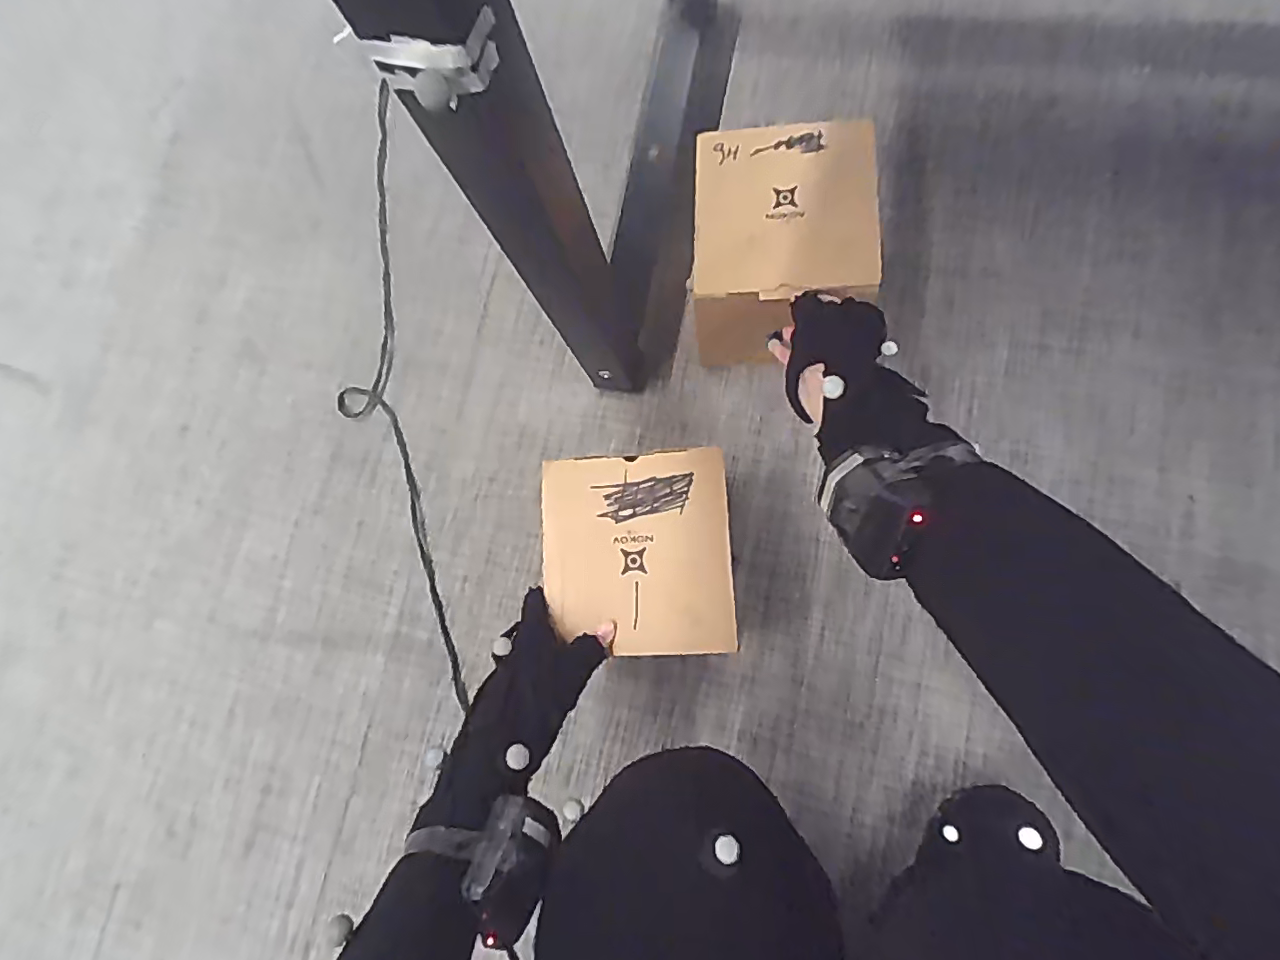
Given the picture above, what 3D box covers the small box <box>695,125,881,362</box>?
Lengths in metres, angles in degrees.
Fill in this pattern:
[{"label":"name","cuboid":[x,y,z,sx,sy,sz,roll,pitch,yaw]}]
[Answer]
[{"label":"small box","cuboid":[0.149,-0.235,0.579,0.168,0.176,0.179,2,81,8]}]
